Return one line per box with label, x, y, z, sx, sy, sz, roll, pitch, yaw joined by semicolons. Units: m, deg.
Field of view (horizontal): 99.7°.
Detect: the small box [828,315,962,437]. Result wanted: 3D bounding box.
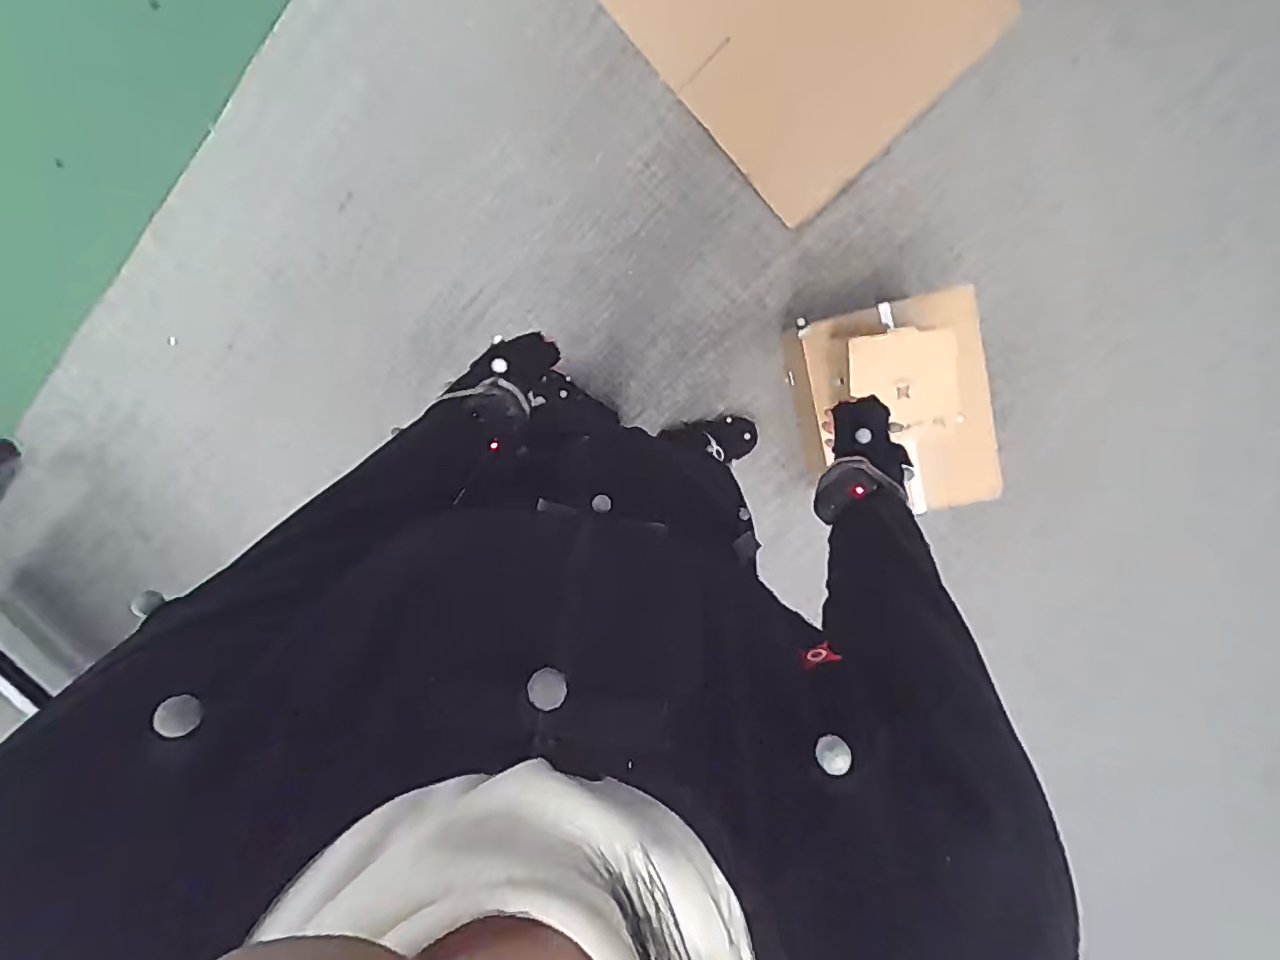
small box;0.434;-0.180;0.941;0.168;0.176;0.179;-8;102;9
